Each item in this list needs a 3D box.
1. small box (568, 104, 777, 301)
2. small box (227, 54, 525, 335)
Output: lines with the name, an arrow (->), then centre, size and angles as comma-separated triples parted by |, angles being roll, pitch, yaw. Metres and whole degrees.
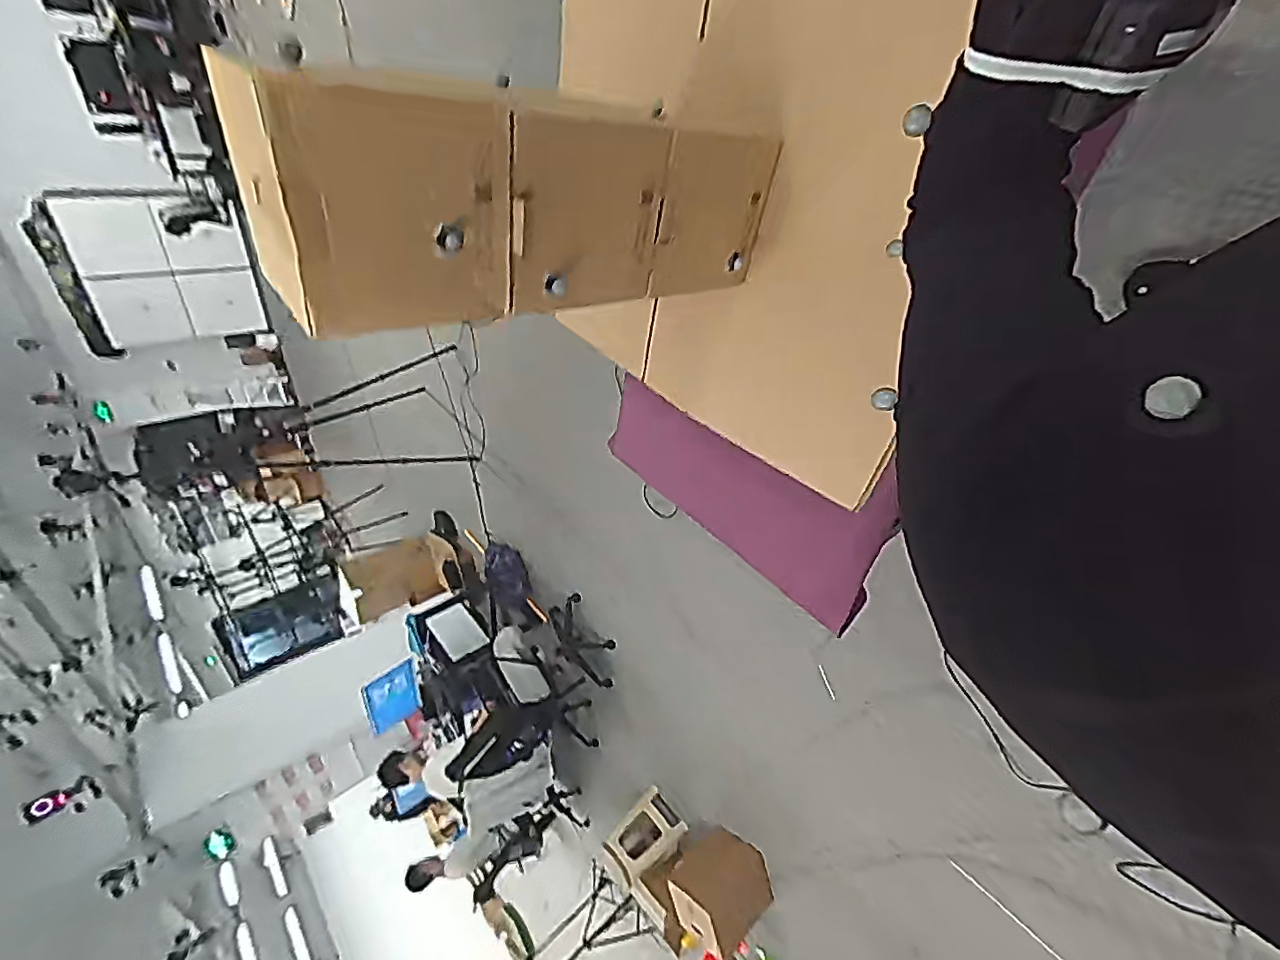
small box -> 0.035, -0.337, 0.652 | 0.179, 0.176, 0.168 | 41, 137, 33
small box -> -0.217, -0.242, 0.464 | 0.179, 0.176, 0.168 | 40, 136, 34
